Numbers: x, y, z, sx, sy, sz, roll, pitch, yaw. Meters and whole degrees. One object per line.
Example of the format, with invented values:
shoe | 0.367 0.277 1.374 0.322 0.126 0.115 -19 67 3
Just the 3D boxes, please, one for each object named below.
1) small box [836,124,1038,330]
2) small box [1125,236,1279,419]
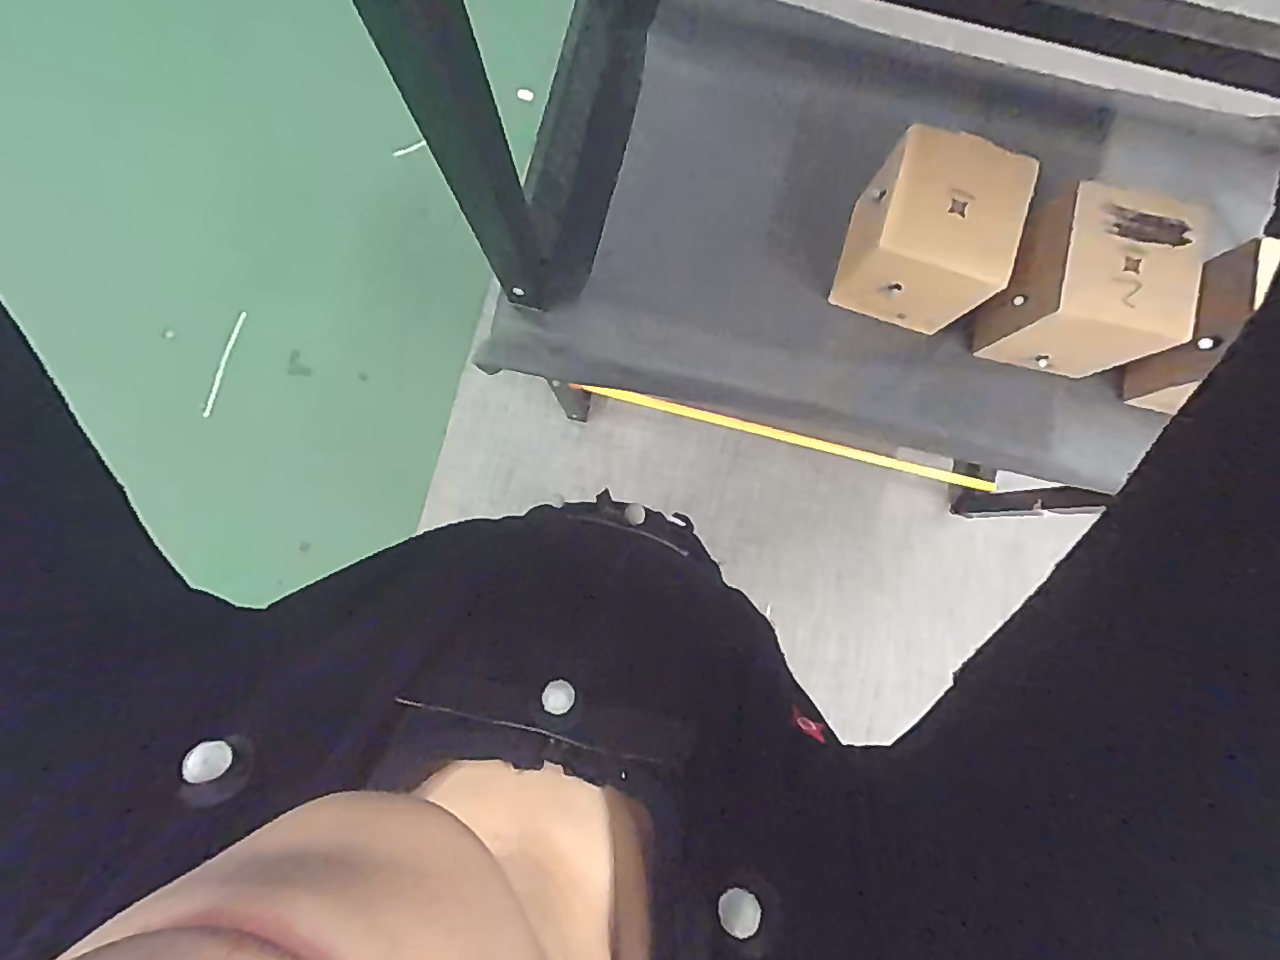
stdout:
small box | 0.391 -0.331 0.745 0.168 0.176 0.179 18 84 1
small box | 0.818 -0.193 0.736 0.168 0.176 0.179 12 84 0
